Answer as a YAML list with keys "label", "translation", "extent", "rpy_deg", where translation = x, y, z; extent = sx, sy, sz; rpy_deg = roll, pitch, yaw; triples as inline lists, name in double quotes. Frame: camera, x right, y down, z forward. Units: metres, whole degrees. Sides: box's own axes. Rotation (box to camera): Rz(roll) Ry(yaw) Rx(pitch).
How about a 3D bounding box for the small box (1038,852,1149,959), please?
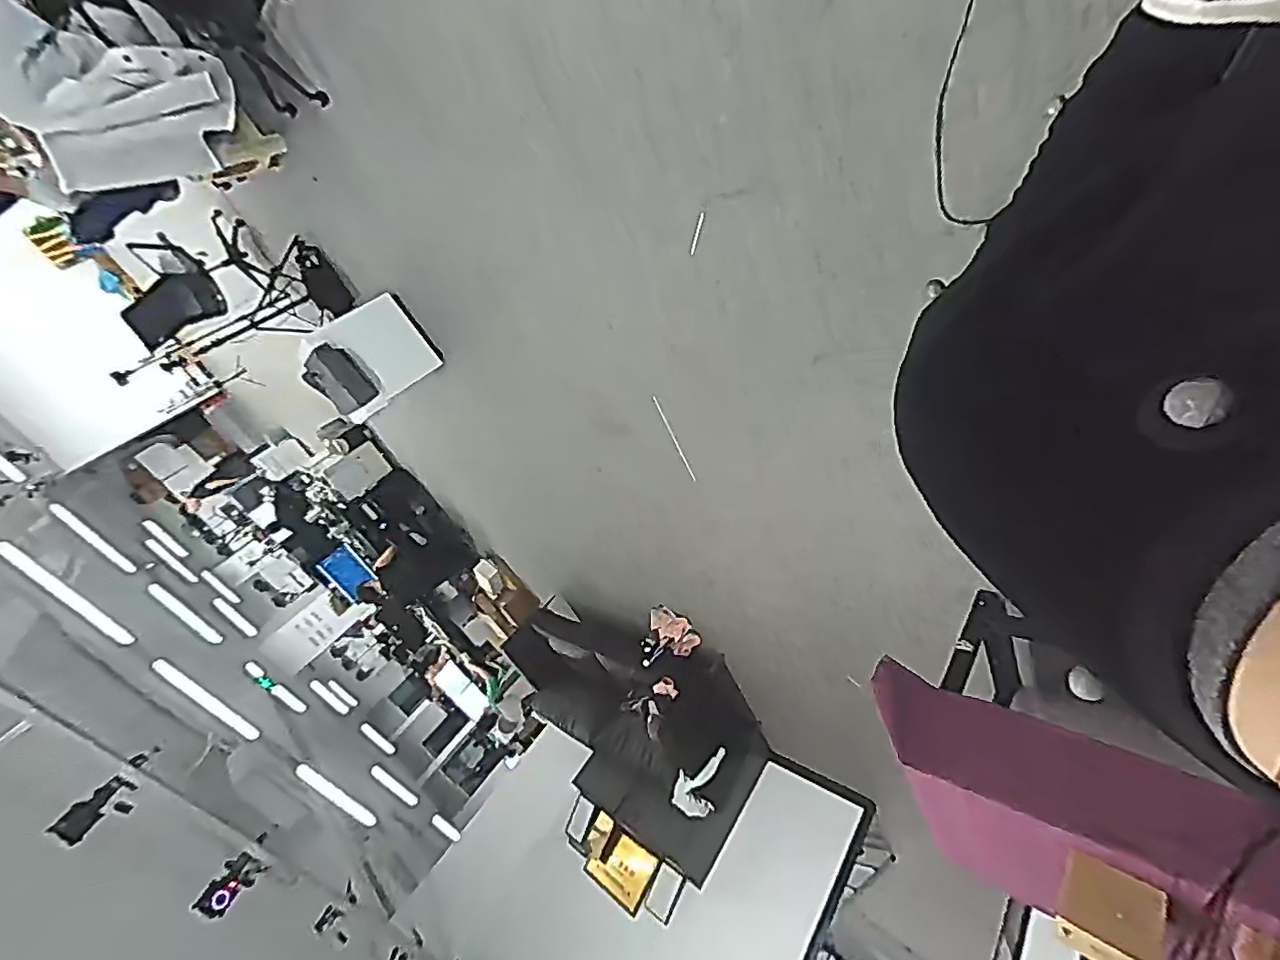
- label: "small box"
  translation: [1.070, 1.034, 1.278]
  extent: [0.179, 0.176, 0.168]
  rpy_deg: [11, 136, 41]
